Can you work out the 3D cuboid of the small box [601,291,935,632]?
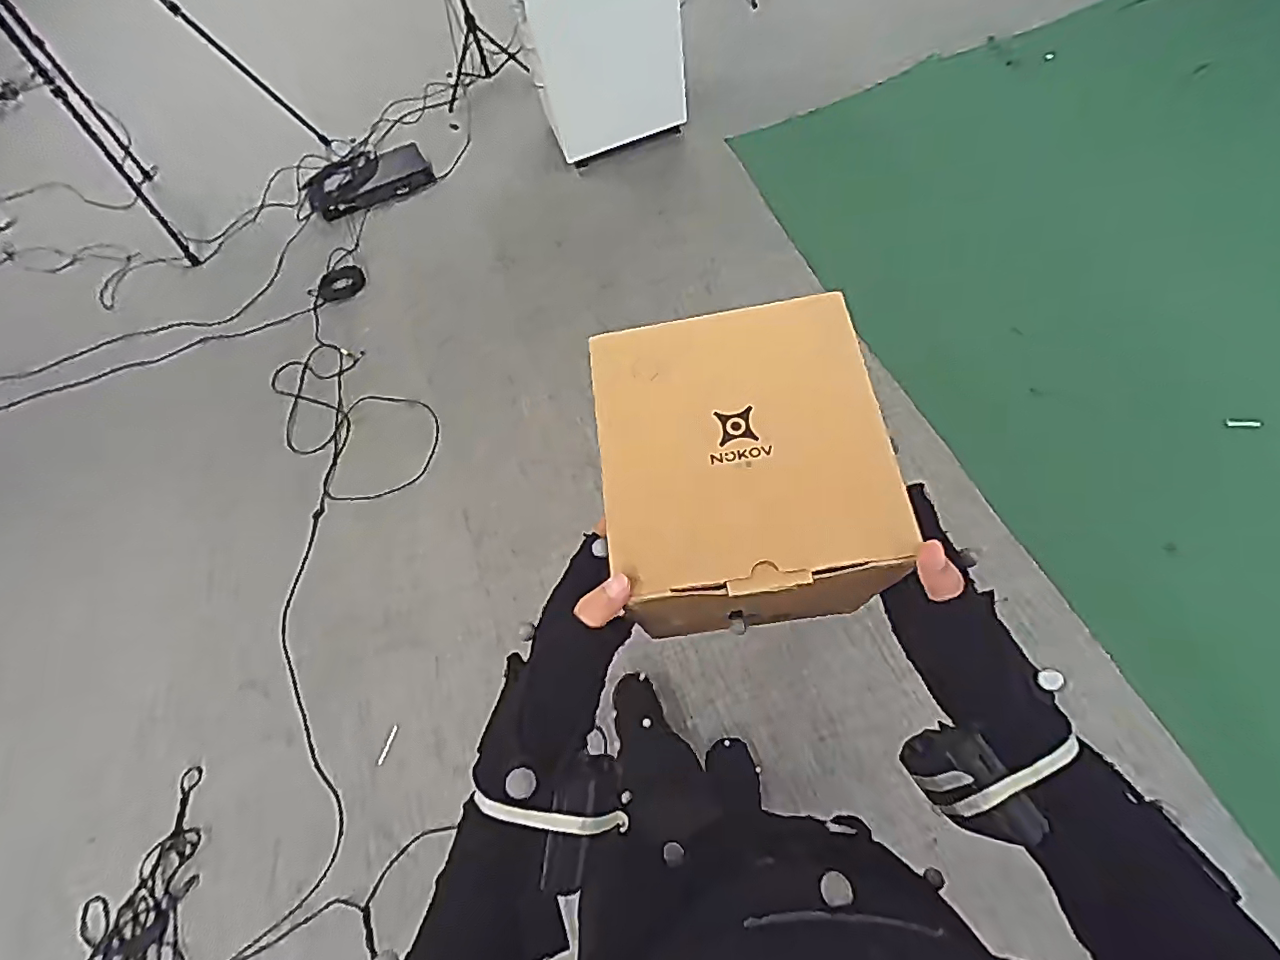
[{"bbox_3d":[0.072,0.001,0.388,0.168,0.176,0.179,-9,67,5],"label":"small box"}]
